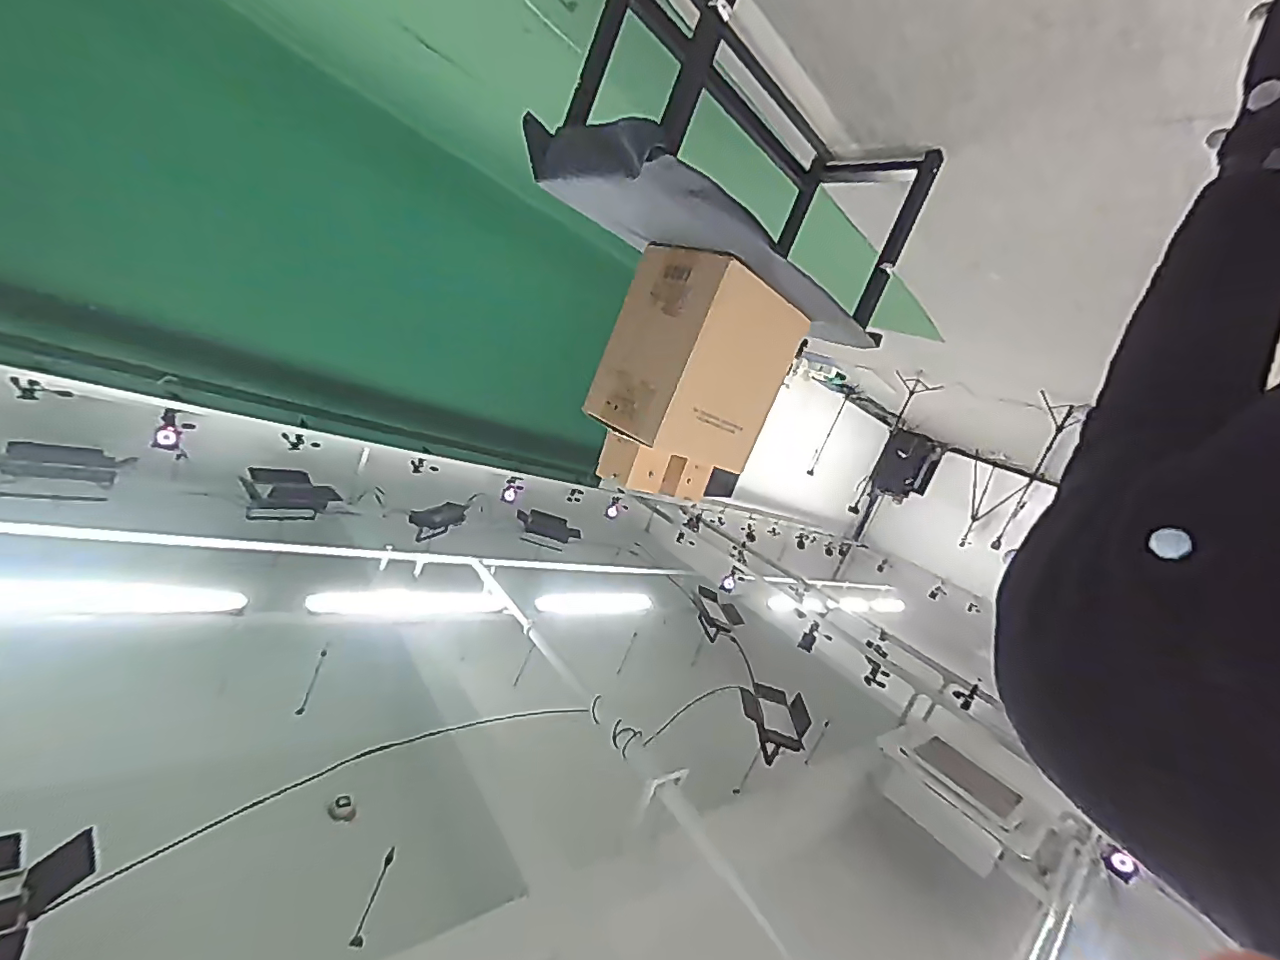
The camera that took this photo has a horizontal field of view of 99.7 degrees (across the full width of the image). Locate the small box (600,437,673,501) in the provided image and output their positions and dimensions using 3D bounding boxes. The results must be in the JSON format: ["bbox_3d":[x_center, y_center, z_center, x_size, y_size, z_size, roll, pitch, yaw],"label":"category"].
[{"bbox_3d":[-0.007,-0.041,1.945,0.179,0.176,0.168,13,-171,-46],"label":"small box"}]

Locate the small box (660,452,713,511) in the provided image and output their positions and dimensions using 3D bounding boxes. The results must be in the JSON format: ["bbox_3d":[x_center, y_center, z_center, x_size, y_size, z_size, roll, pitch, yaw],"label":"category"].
[{"bbox_3d":[0.168,0.003,2.127,0.168,0.176,0.179,17,-172,-45],"label":"small box"}]
